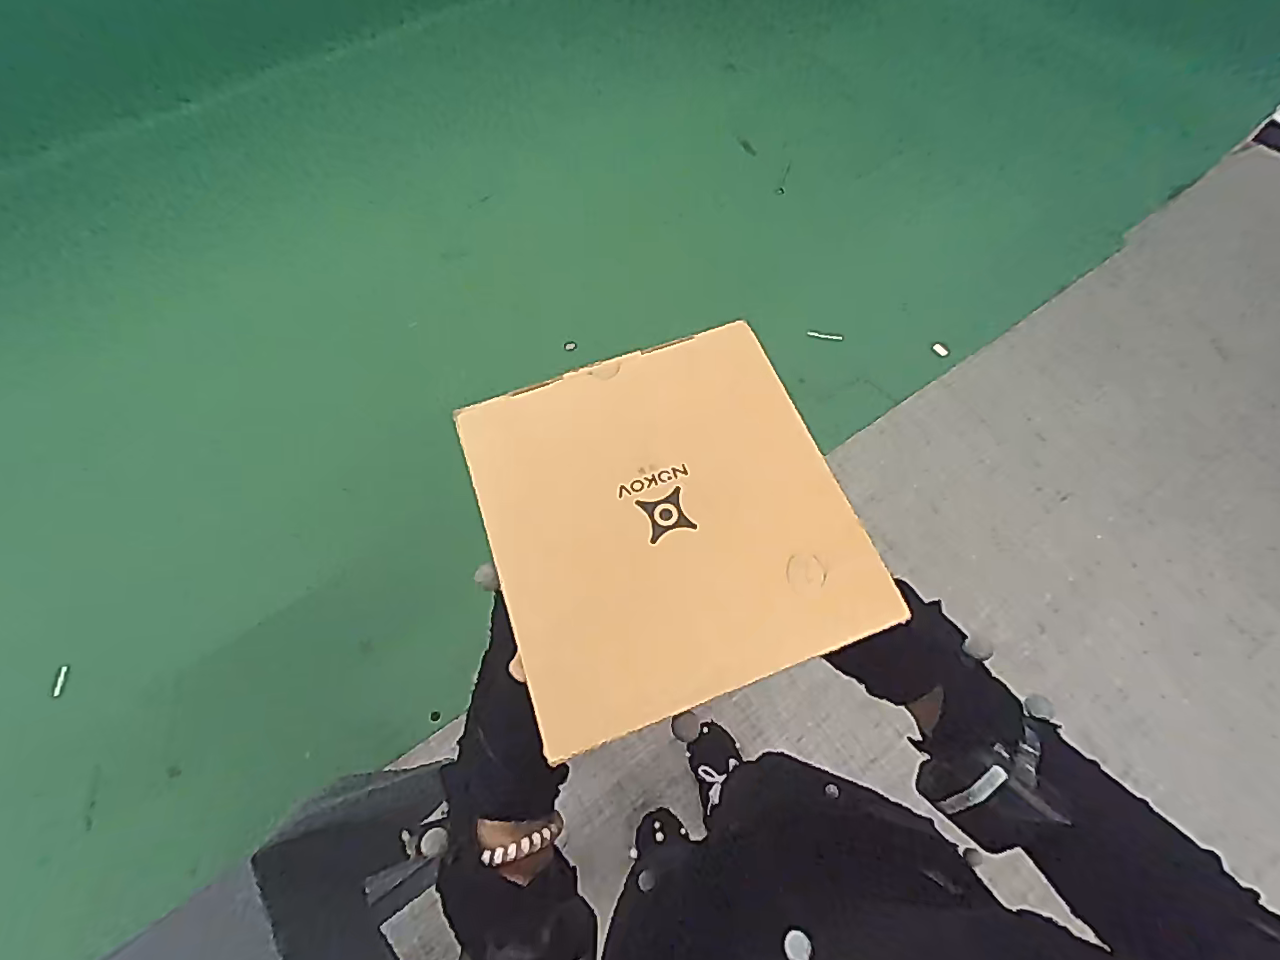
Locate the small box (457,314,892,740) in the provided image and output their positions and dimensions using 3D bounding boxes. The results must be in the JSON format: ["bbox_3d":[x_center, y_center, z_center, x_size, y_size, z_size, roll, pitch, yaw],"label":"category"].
[{"bbox_3d":[0.011,0.038,0.334,0.168,0.176,0.179,-20,66,-7],"label":"small box"}]
